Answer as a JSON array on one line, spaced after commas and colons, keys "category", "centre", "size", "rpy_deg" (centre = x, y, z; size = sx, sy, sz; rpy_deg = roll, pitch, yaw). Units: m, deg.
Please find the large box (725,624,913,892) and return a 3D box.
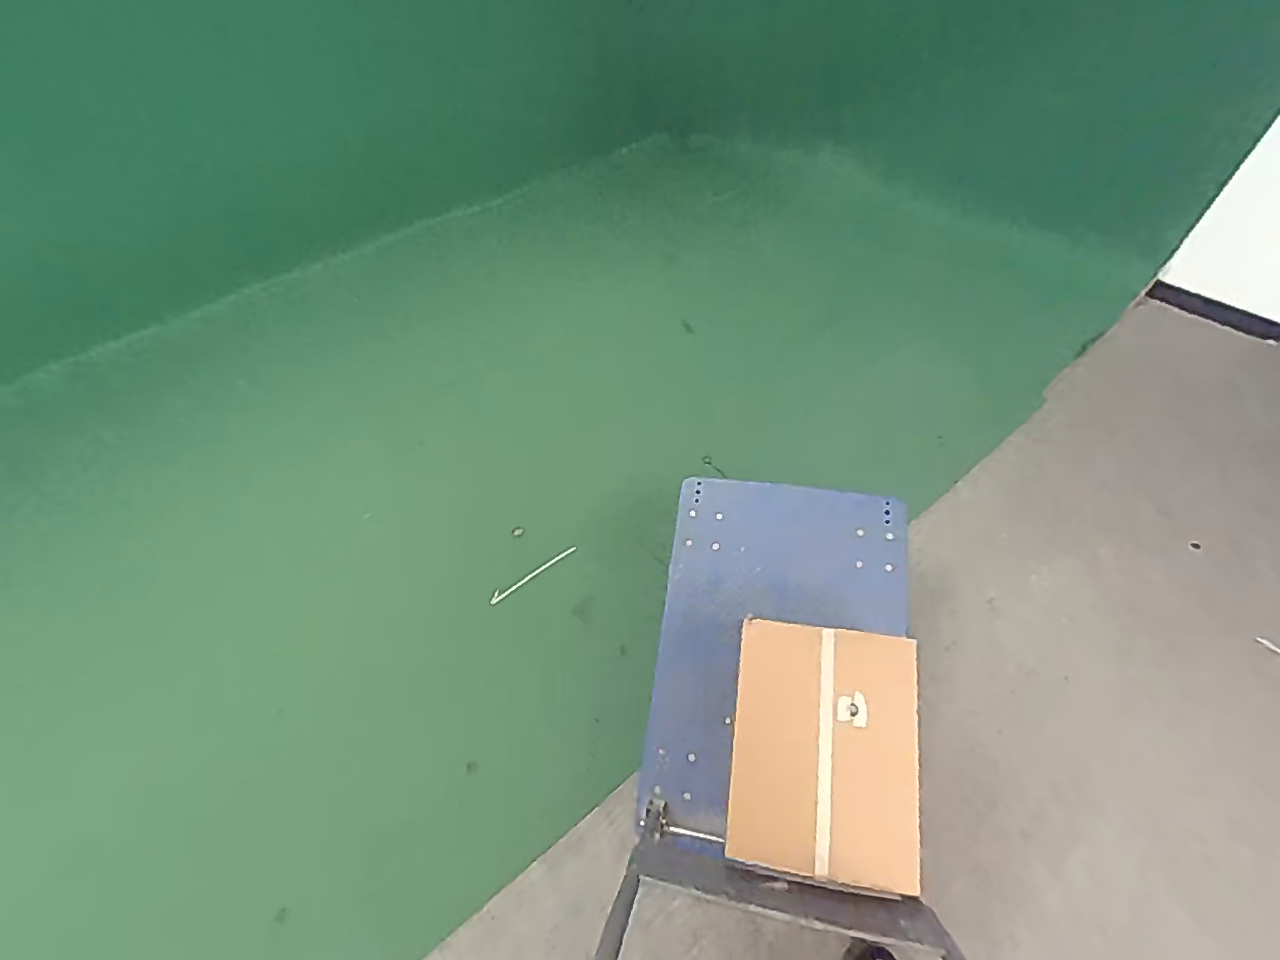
[{"category": "large box", "centre": [0.349, 0.533, 1.114], "size": [0.320, 0.320, 0.408], "rpy_deg": [6, 71, 11]}]
